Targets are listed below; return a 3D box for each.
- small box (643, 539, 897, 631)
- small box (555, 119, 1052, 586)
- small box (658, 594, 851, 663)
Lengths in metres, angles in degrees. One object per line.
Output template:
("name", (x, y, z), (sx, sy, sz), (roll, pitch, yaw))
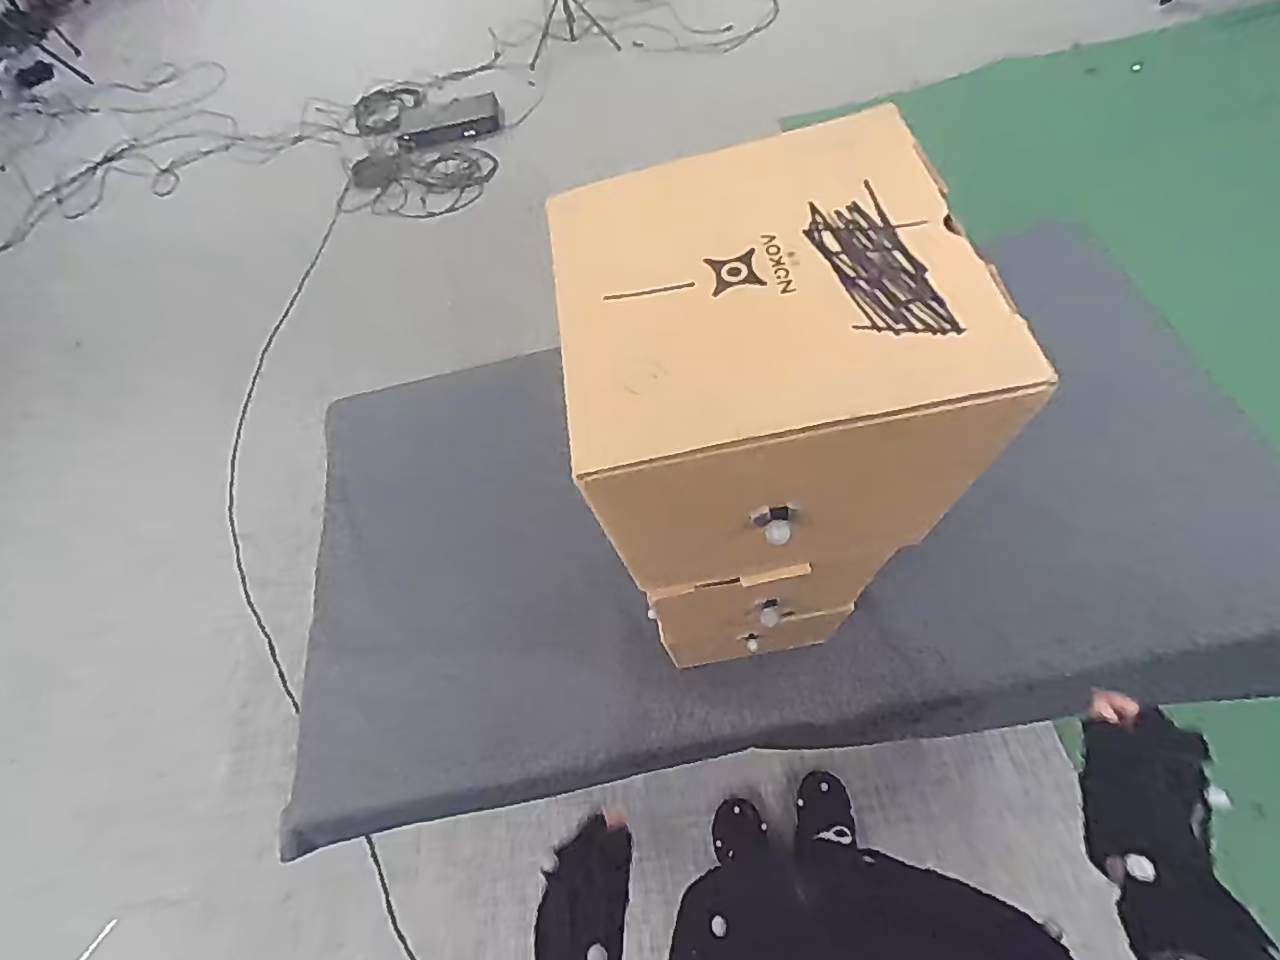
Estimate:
("small box", (0.082, 0.019, 0.450), (0.168, 0.176, 0.179), (-14, 63, 3))
("small box", (0.064, -0.051, 0.301), (0.179, 0.176, 0.168), (-11, 62, 5))
("small box", (0.105, 0.095, 0.593), (0.179, 0.176, 0.168), (-11, 63, 3))
